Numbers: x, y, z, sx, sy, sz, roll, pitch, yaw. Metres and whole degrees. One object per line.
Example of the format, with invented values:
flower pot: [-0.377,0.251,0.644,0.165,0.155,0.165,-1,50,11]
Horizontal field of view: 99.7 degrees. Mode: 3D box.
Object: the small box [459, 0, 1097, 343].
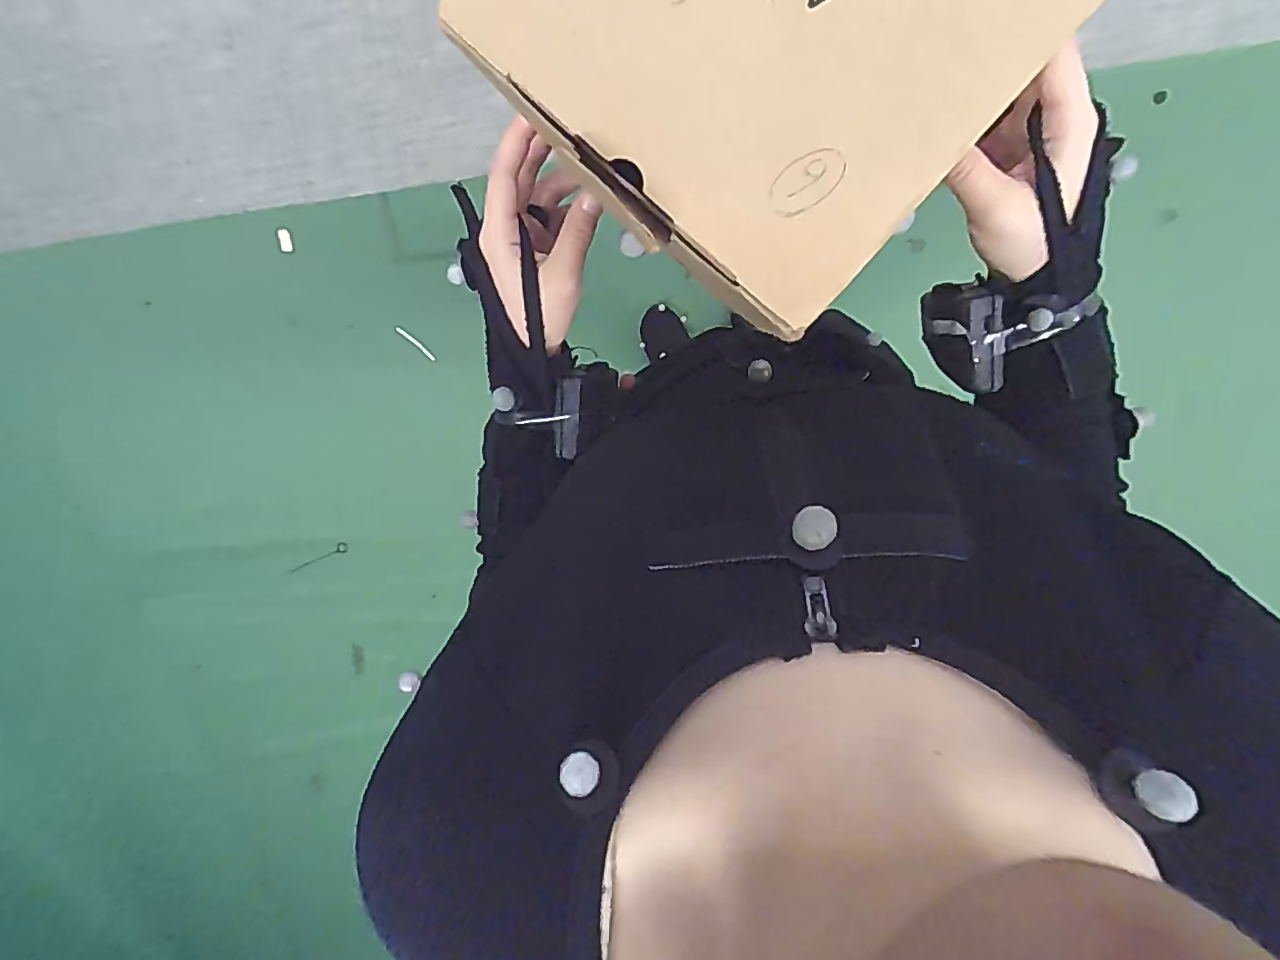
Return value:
small box: [0.058,-0.187,0.254,0.168,0.176,0.179,39,107,-6]
